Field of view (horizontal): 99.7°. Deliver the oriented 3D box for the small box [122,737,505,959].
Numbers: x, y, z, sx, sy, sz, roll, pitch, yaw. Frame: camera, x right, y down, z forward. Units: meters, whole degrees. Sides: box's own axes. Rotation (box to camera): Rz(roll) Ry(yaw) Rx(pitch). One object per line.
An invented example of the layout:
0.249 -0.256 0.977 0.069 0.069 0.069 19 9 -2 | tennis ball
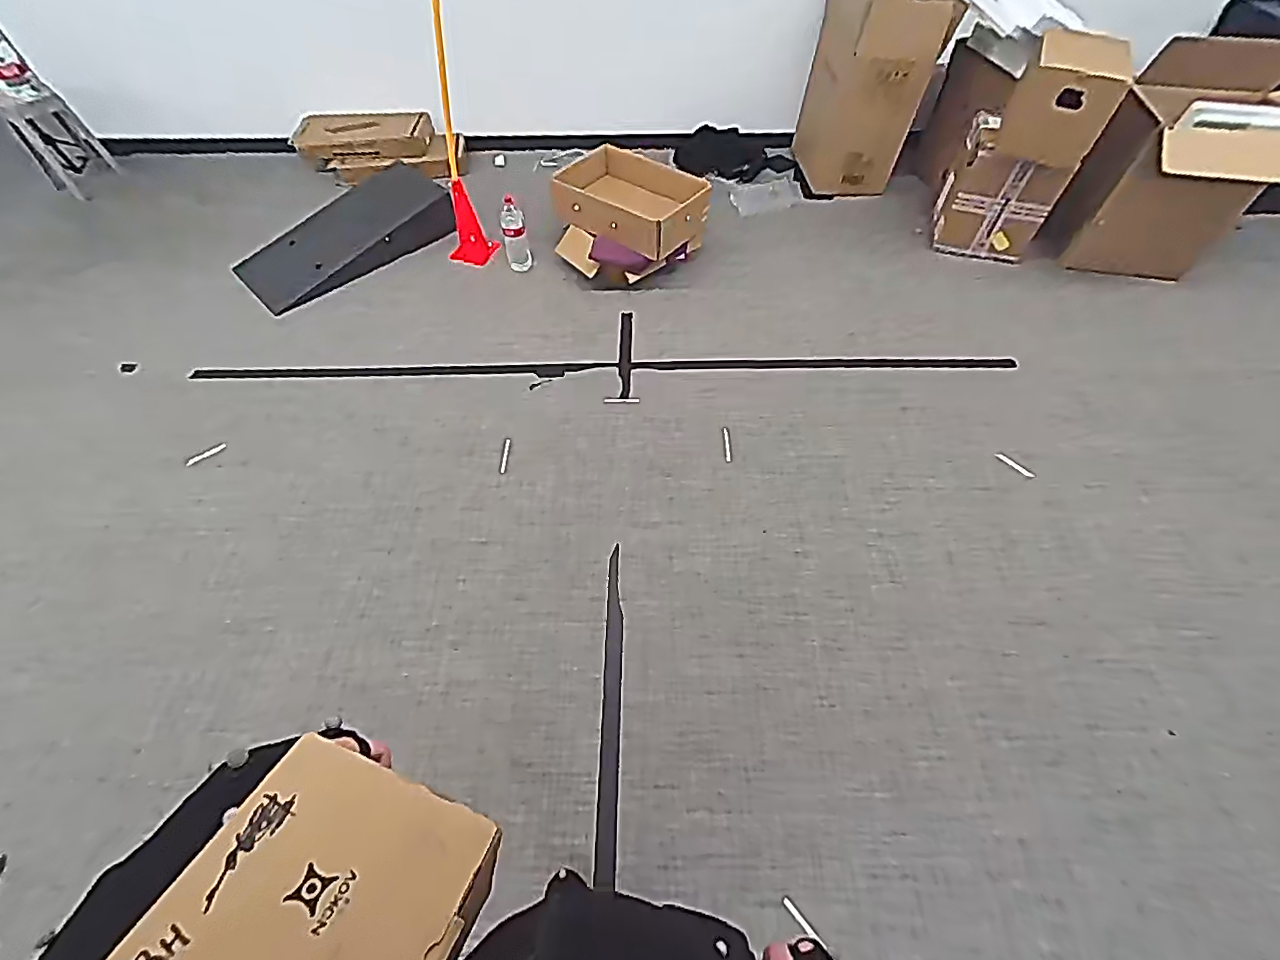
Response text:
-0.226 0.340 0.412 0.179 0.176 0.168 22 38 6 | small box
